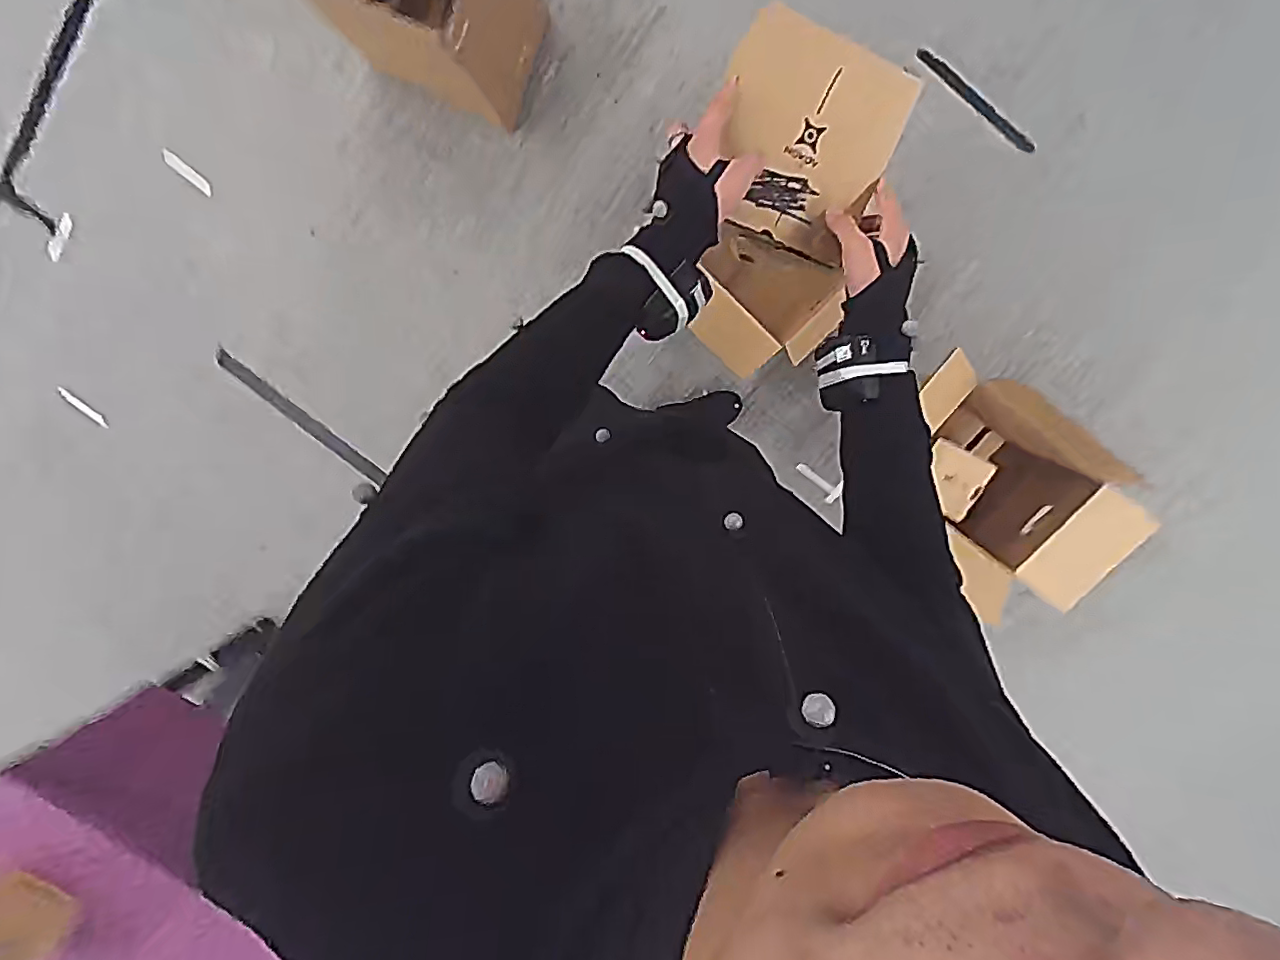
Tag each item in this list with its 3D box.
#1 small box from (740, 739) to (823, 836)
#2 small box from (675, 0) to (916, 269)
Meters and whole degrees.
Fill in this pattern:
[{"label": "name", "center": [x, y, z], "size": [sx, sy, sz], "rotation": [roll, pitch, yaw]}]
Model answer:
[{"label": "small box", "center": [0.433, 0.950, 1.694], "size": [0.179, 0.176, 0.168], "rotation": [40, 103, -6]}, {"label": "small box", "center": [0.144, -0.342, 0.580], "size": [0.168, 0.176, 0.179], "rotation": [18, 108, -10]}]
